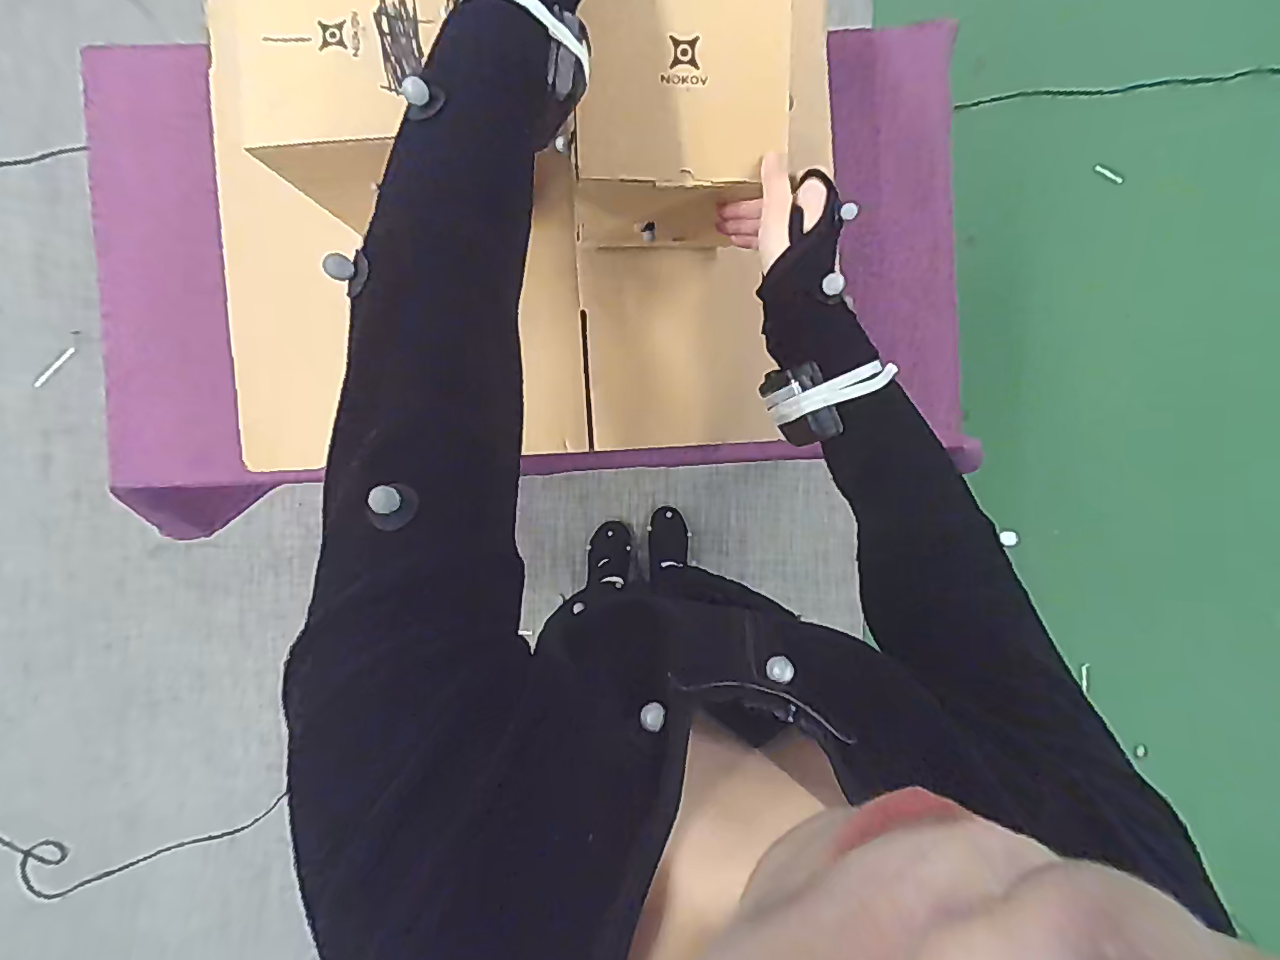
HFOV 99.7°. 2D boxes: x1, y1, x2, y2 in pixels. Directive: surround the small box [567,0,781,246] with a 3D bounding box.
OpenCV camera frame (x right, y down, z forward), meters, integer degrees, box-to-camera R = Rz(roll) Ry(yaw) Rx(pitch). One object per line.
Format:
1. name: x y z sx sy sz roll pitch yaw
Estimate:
1. small box: 0.018 -0.328 0.491 0.168 0.176 0.179 -2 100 -5
